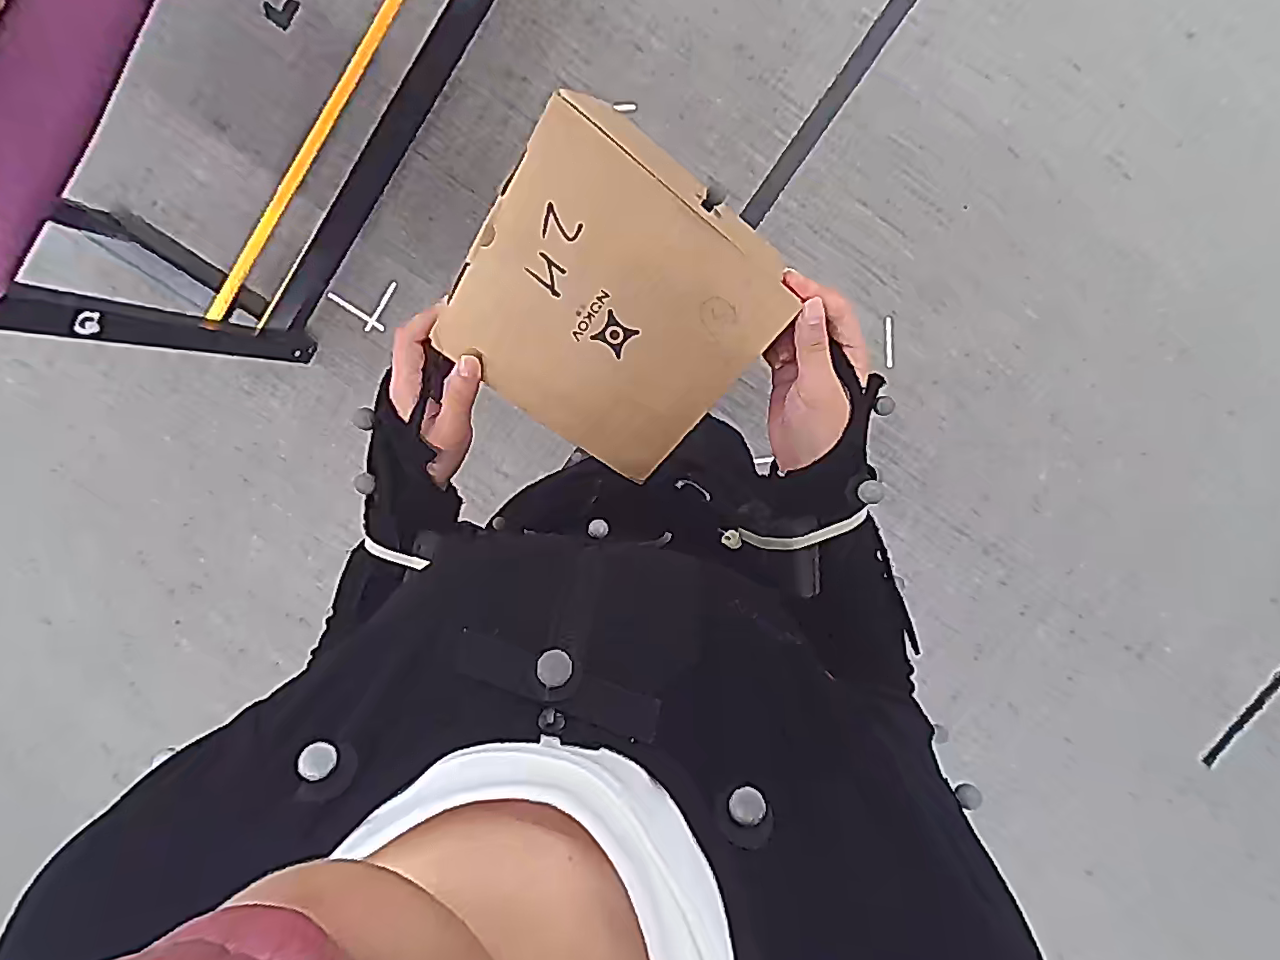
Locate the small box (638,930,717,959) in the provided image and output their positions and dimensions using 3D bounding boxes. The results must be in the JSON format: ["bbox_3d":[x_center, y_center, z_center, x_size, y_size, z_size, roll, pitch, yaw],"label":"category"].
[{"bbox_3d":[0.080,1.218,1.271,0.179,0.176,0.168,27,97,-4],"label":"small box"}]

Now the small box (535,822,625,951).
[{"bbox_3d":[-0.148,1.051,1.409,0.168,0.176,0.179,30,96,-5],"label":"small box"}]
